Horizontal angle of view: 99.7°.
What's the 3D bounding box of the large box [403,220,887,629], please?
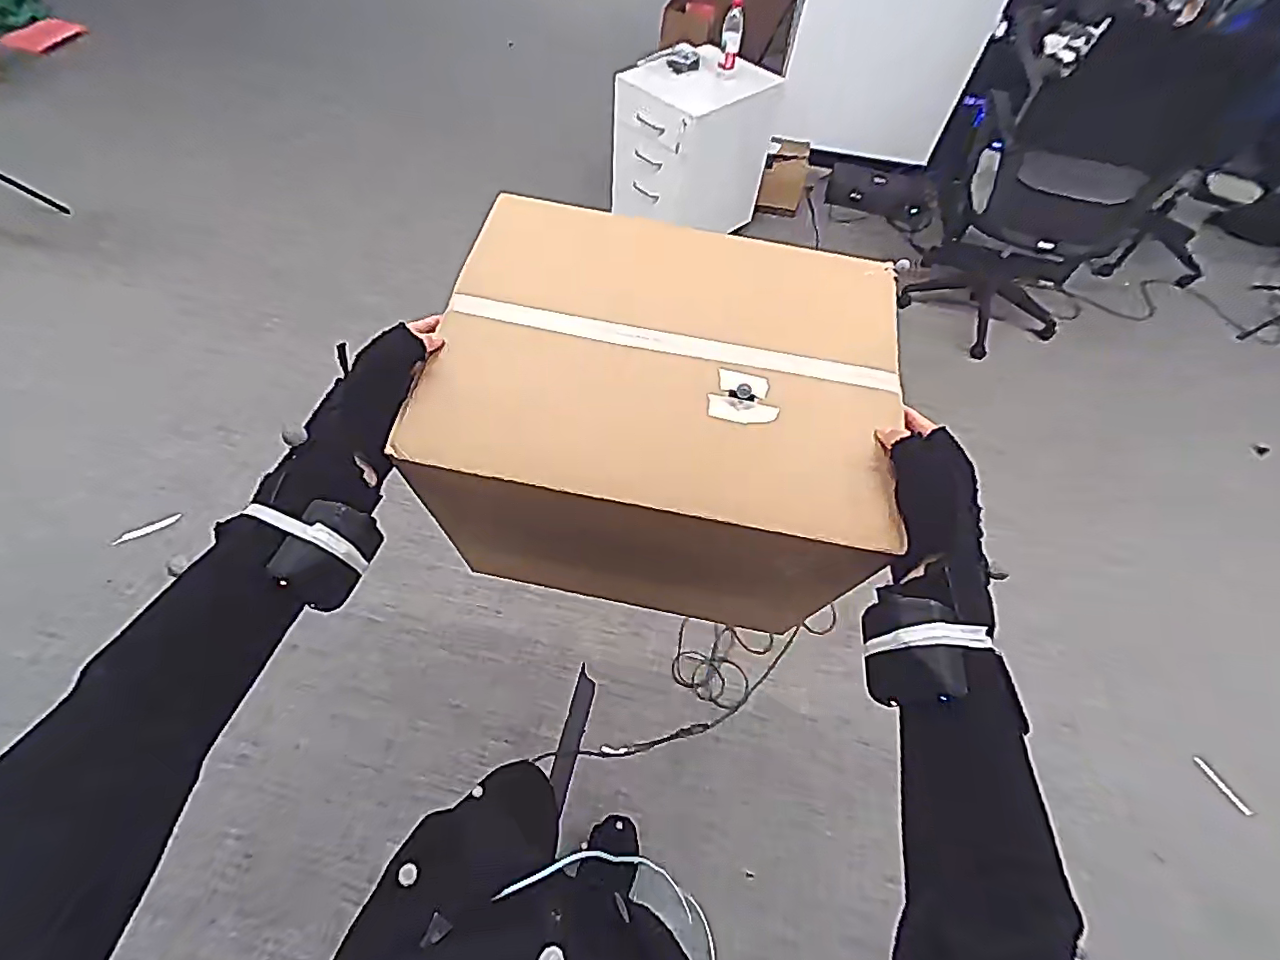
[{"bbox_3d":[0.014,-0.041,0.631,0.408,0.320,0.320,11,64,1],"label":"large box"}]
